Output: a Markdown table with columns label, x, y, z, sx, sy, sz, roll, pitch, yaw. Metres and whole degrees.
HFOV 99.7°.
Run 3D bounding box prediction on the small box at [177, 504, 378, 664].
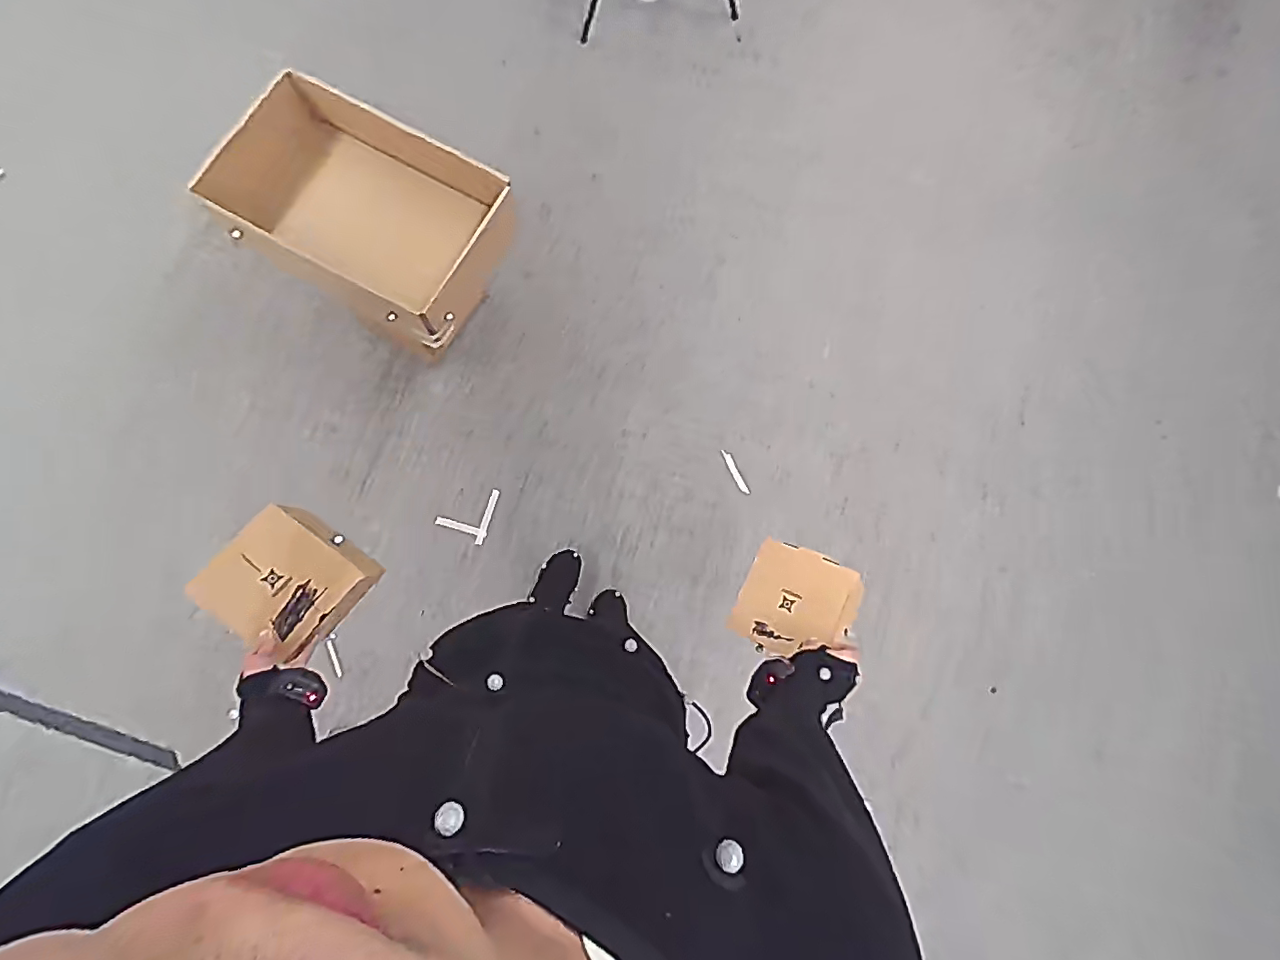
| label | x | y | z | sx | sy | sz | roll | pitch | yaw |
| --- | --- | --- | --- | --- | --- | --- | --- | --- | --- |
| small box | -0.547 | 0.157 | 0.851 | 0.179 | 0.176 | 0.168 | 39 | 74 | -7 |

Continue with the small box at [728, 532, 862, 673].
| label | x | y | z | sx | sy | sz | roll | pitch | yaw |
| --- | --- | --- | --- | --- | --- | --- | --- | --- | --- |
| small box | 0.280 | 0.220 | 0.953 | 0.168 | 0.176 | 0.179 | 21 | 78 | 31 |
